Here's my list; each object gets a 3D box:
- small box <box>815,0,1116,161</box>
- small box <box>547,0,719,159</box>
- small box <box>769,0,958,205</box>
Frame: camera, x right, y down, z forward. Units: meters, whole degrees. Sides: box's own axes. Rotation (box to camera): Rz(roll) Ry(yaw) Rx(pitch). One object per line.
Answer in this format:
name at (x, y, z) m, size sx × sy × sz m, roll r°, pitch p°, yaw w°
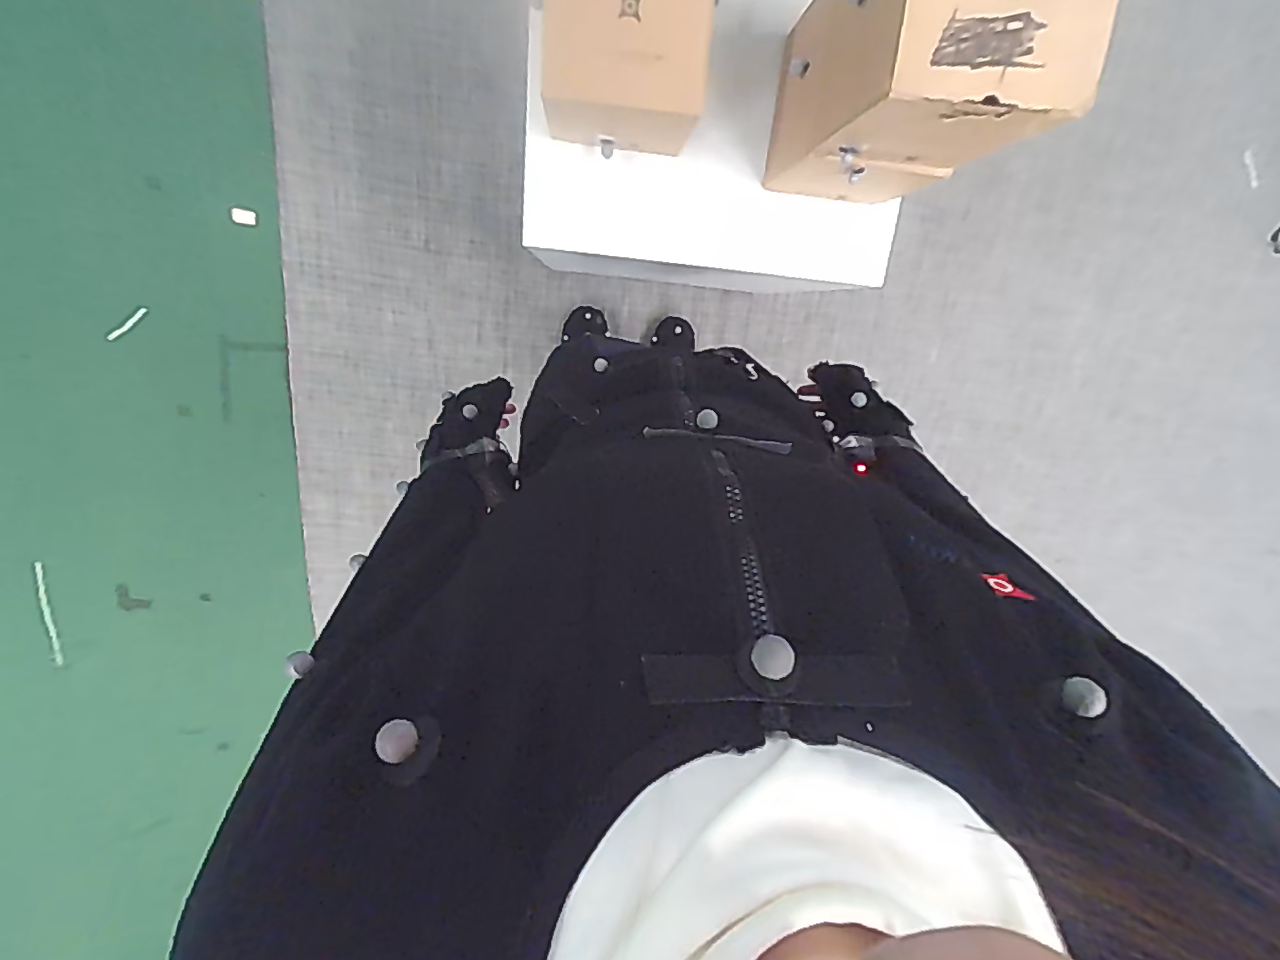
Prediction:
small box at (0.266, -0.395, 0.467) m, size 0.168 × 0.176 × 0.179 m, roll 2°, pitch 107°, yaw -4°
small box at (-0.012, -0.478, 0.595) m, size 0.168 × 0.176 × 0.179 m, roll 3°, pitch 109°, yaw -5°
small box at (0.261, -0.438, 0.626) m, size 0.168 × 0.176 × 0.179 m, roll 5°, pitch 107°, yaw -5°
